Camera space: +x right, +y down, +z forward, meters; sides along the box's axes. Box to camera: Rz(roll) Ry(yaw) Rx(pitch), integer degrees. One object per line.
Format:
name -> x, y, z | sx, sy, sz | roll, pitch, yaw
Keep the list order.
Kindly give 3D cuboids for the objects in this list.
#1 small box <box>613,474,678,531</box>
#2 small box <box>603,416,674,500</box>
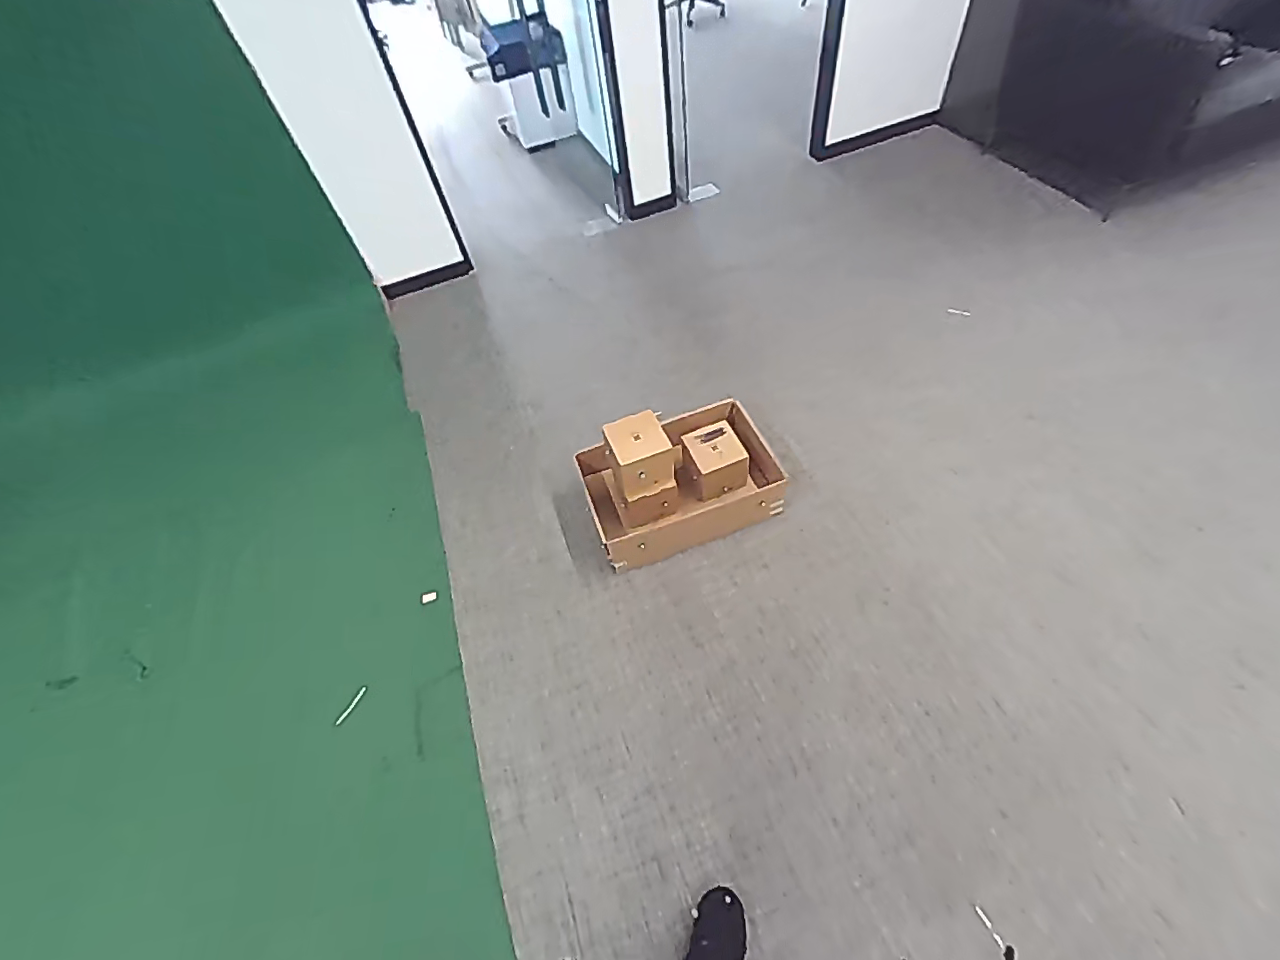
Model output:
small box -> 0.021, 0.048, 1.791 | 0.168, 0.176, 0.179 | -19, 53, -9
small box -> 0.000, -0.060, 1.672 | 0.168, 0.176, 0.179 | -20, 53, -9
